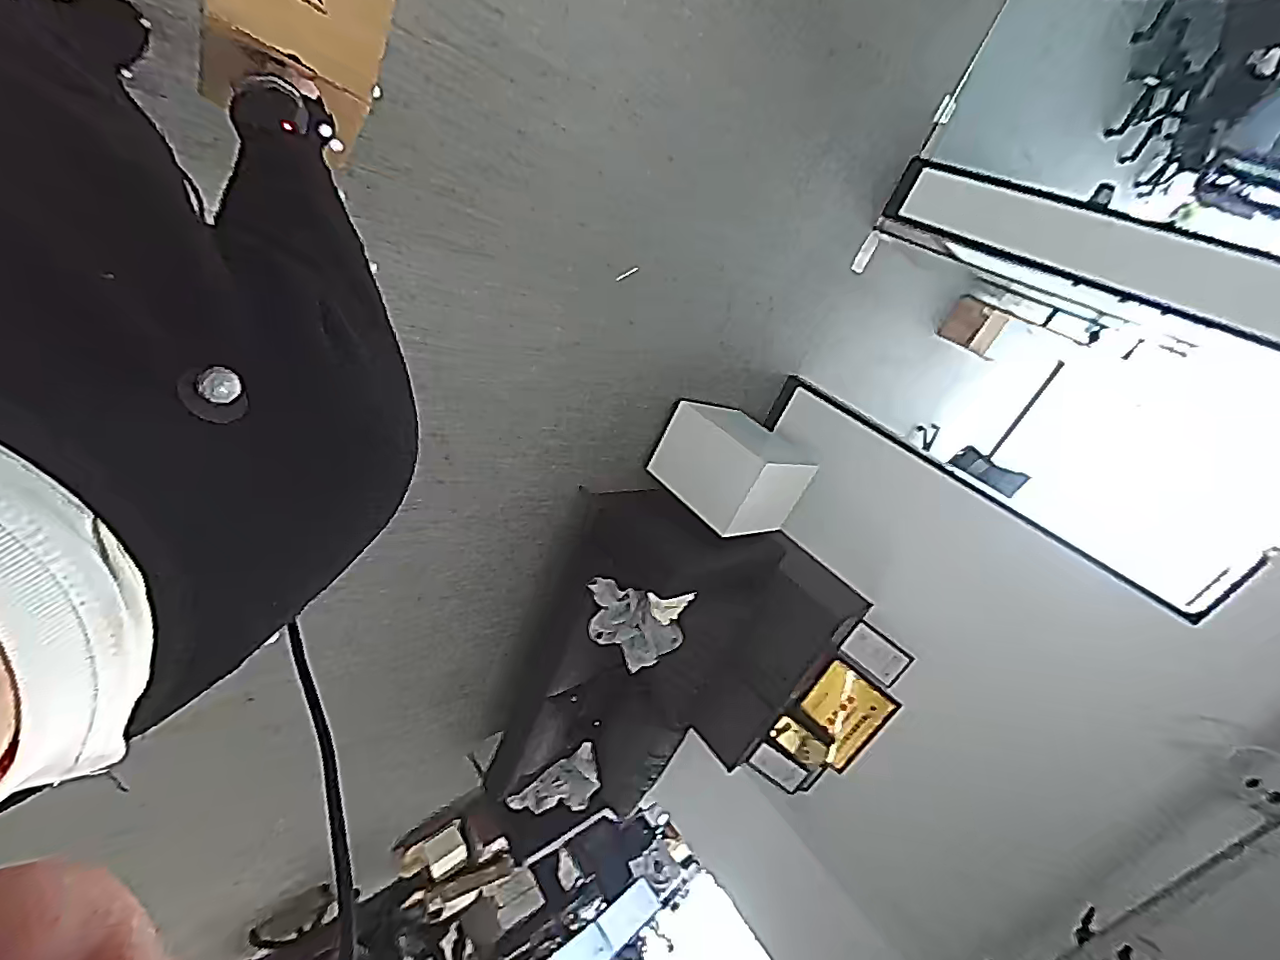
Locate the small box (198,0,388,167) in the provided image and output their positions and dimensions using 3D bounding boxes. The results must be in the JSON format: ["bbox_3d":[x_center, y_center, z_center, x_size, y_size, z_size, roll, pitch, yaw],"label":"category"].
[{"bbox_3d":[-0.438,-0.546,0.688,0.168,0.176,0.179,11,82,-37],"label":"small box"}]
